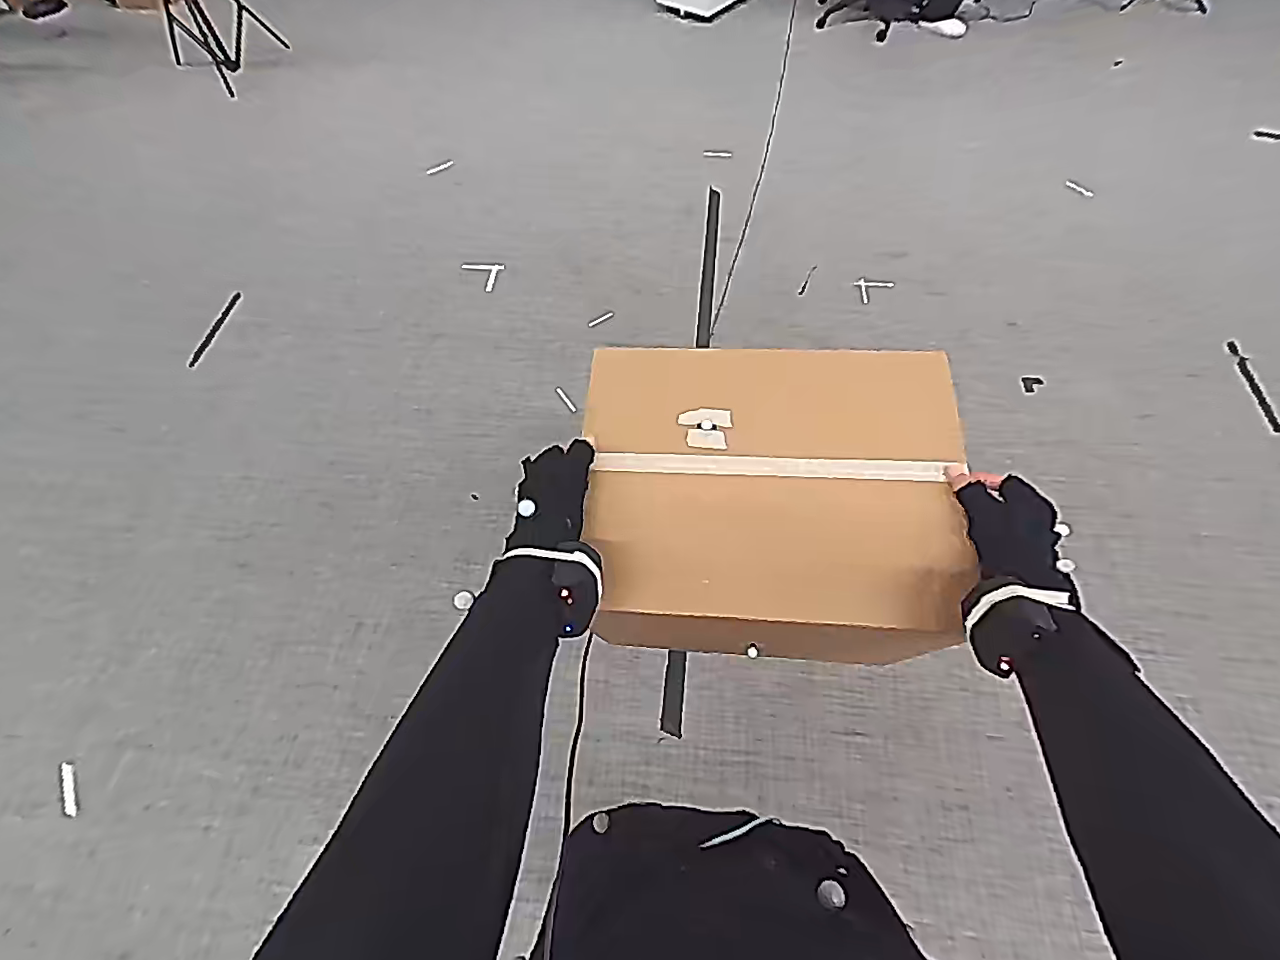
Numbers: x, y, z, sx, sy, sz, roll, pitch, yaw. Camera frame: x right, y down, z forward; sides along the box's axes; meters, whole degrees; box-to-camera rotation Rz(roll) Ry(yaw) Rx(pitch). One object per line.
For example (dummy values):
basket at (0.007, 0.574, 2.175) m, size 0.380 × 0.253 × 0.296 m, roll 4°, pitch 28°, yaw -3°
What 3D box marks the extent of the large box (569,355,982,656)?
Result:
large box at (0.151, 0.052, 0.719) m, size 0.408 × 0.320 × 0.320 m, roll 2°, pitch 66°, yaw 8°
